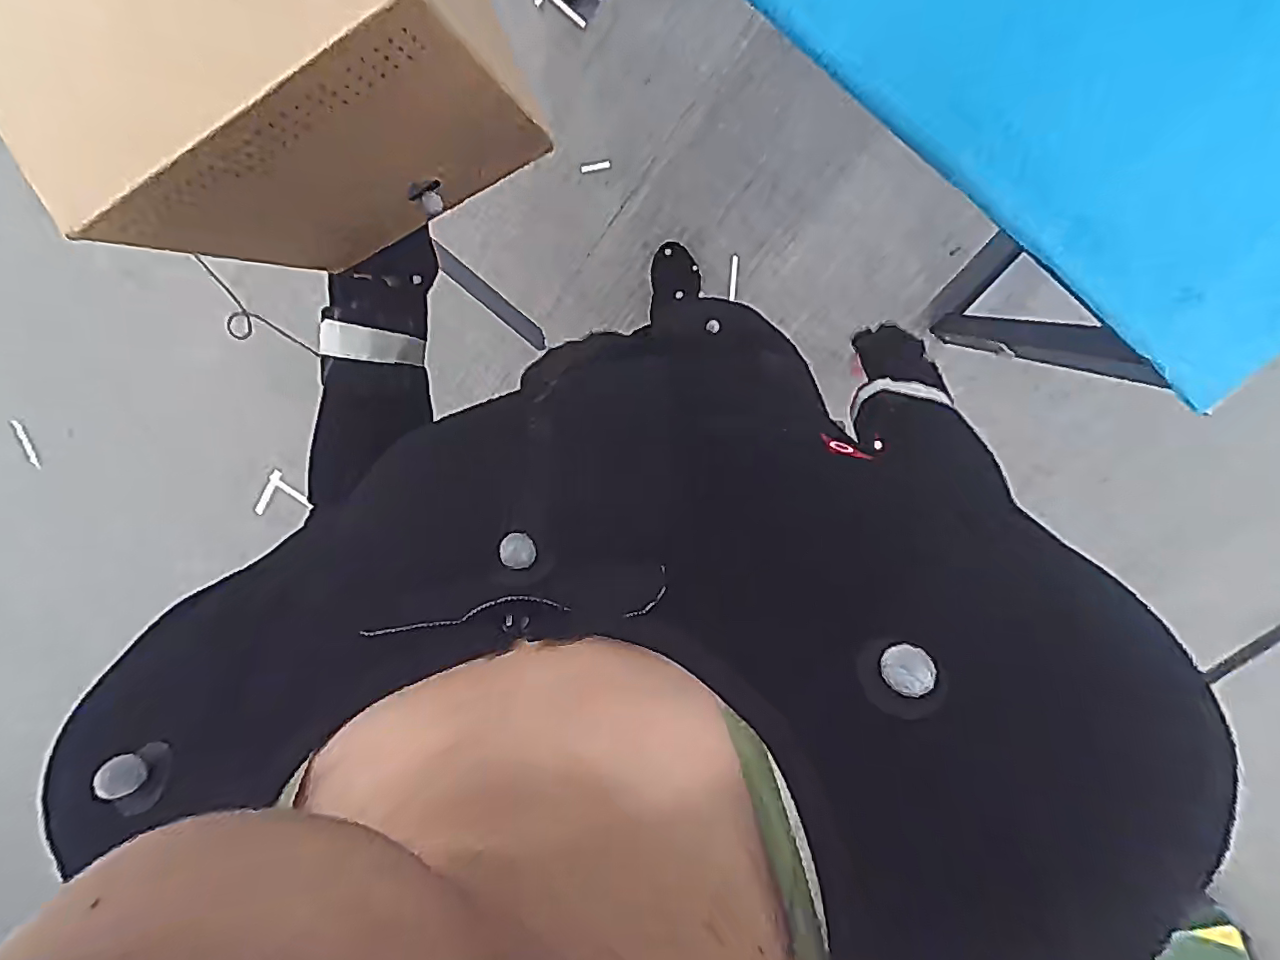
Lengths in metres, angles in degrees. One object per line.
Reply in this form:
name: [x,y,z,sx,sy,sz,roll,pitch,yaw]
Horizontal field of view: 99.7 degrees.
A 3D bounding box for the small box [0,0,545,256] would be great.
small box: [-0.177,-0.228,0.252,0.179,0.176,0.168,-21,102,14]
